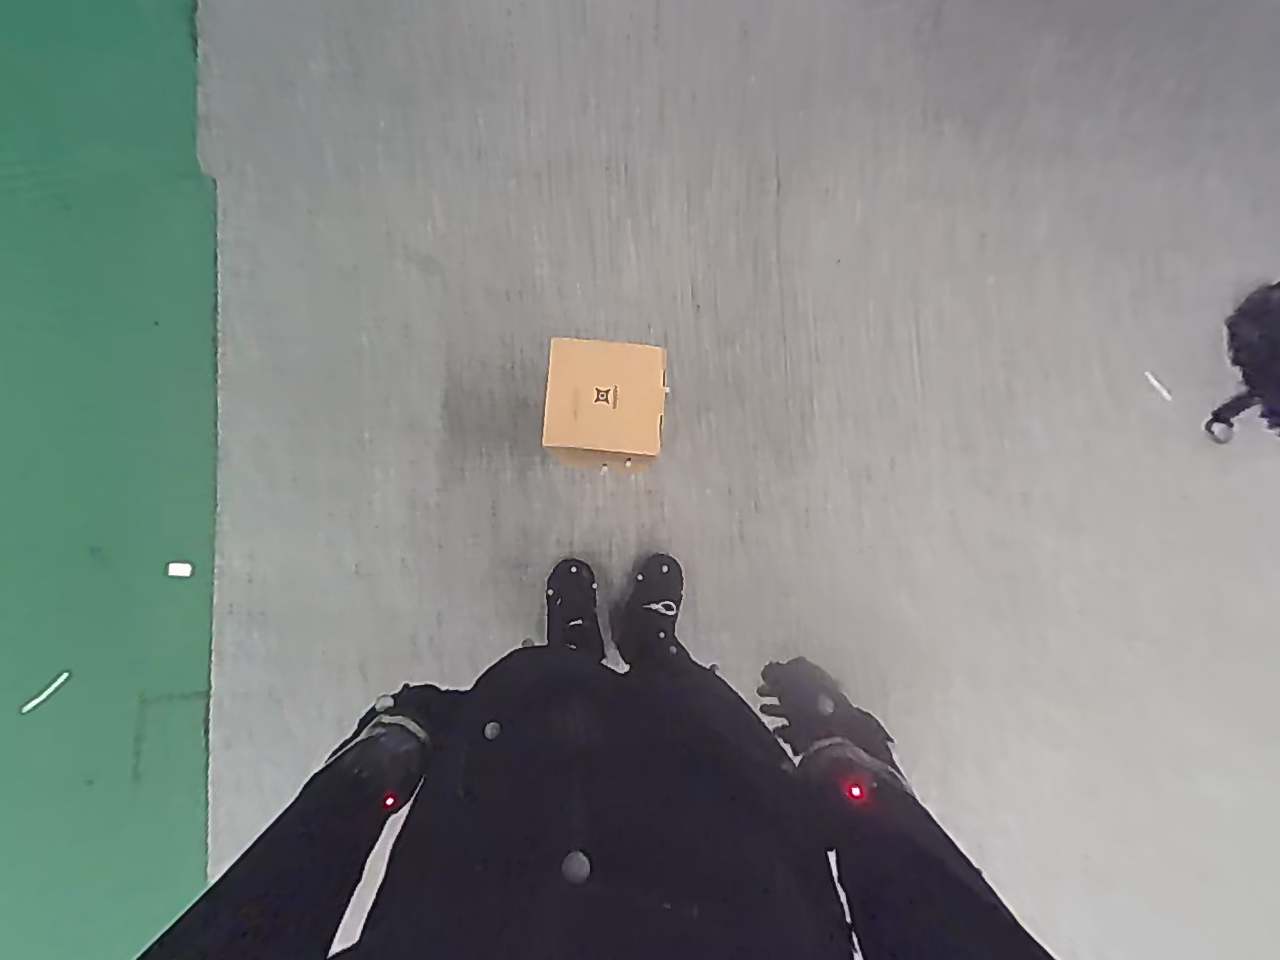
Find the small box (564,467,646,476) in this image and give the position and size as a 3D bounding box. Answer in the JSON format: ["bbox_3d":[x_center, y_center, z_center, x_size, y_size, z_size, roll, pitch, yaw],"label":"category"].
[{"bbox_3d":[-0.073,-0.097,1.210,0.179,0.176,0.168,3,86,-2],"label":"small box"}]

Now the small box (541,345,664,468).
[{"bbox_3d":[-0.059,-0.110,0.885,0.179,0.176,0.168,3,86,-2],"label":"small box"}]
